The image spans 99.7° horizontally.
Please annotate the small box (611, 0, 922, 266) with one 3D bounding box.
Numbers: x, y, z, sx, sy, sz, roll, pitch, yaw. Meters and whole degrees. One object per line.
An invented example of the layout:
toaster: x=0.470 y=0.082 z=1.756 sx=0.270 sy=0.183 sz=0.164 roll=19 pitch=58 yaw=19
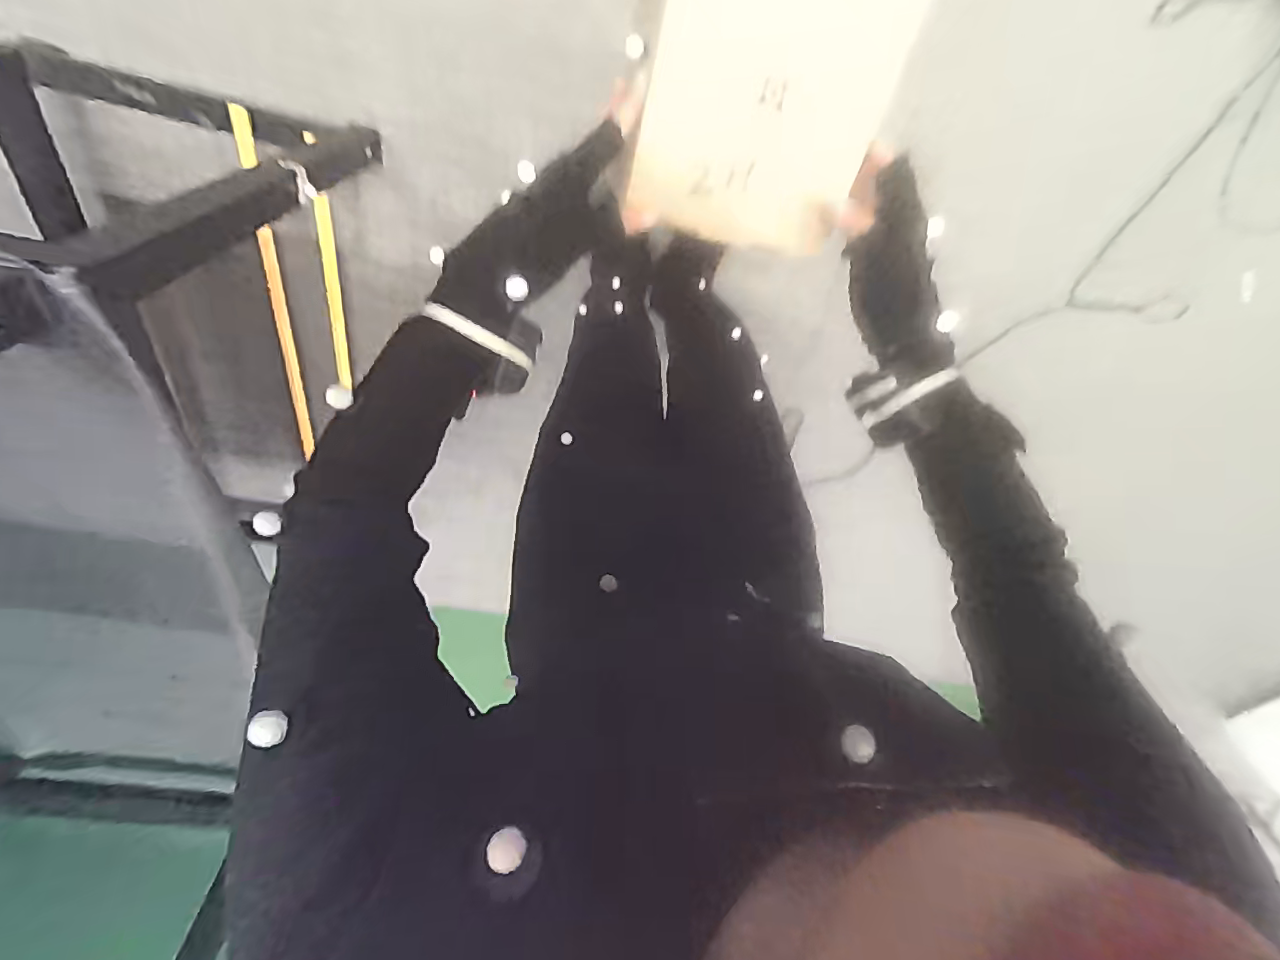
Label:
small box: x=0.074 y=-0.299 z=0.434 sx=0.168 sy=0.176 sz=0.179 roll=7 pitch=126 yaw=-13
